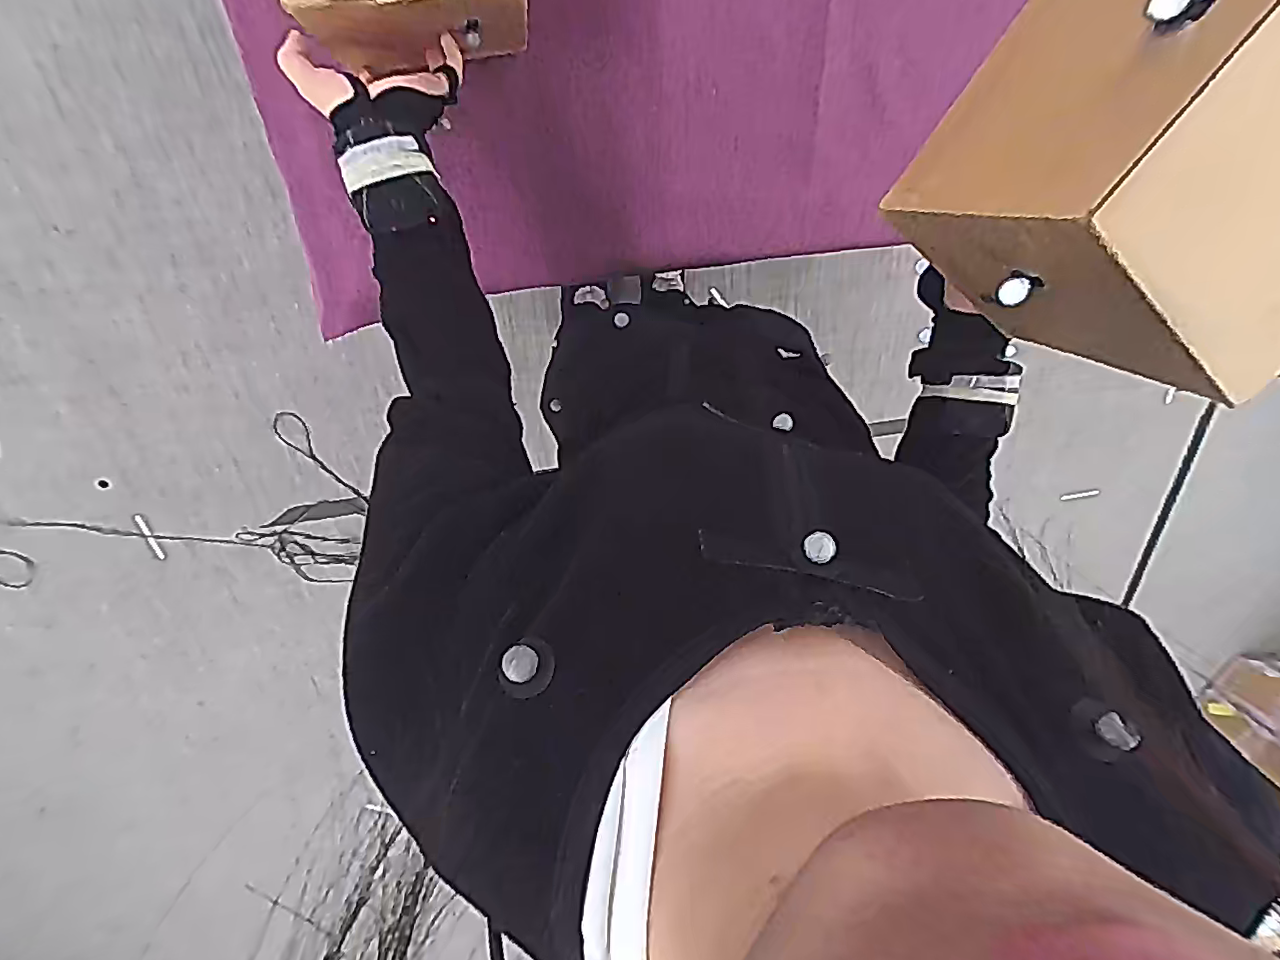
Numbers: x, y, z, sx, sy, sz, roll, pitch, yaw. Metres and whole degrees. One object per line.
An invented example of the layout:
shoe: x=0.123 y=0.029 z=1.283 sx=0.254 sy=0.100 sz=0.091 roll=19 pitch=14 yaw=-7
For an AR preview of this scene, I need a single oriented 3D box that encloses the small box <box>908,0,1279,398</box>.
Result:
small box: x=0.289 y=-0.181 z=0.307 sx=0.168 sy=0.176 sz=0.179 roll=28 pitch=108 yaw=-23
